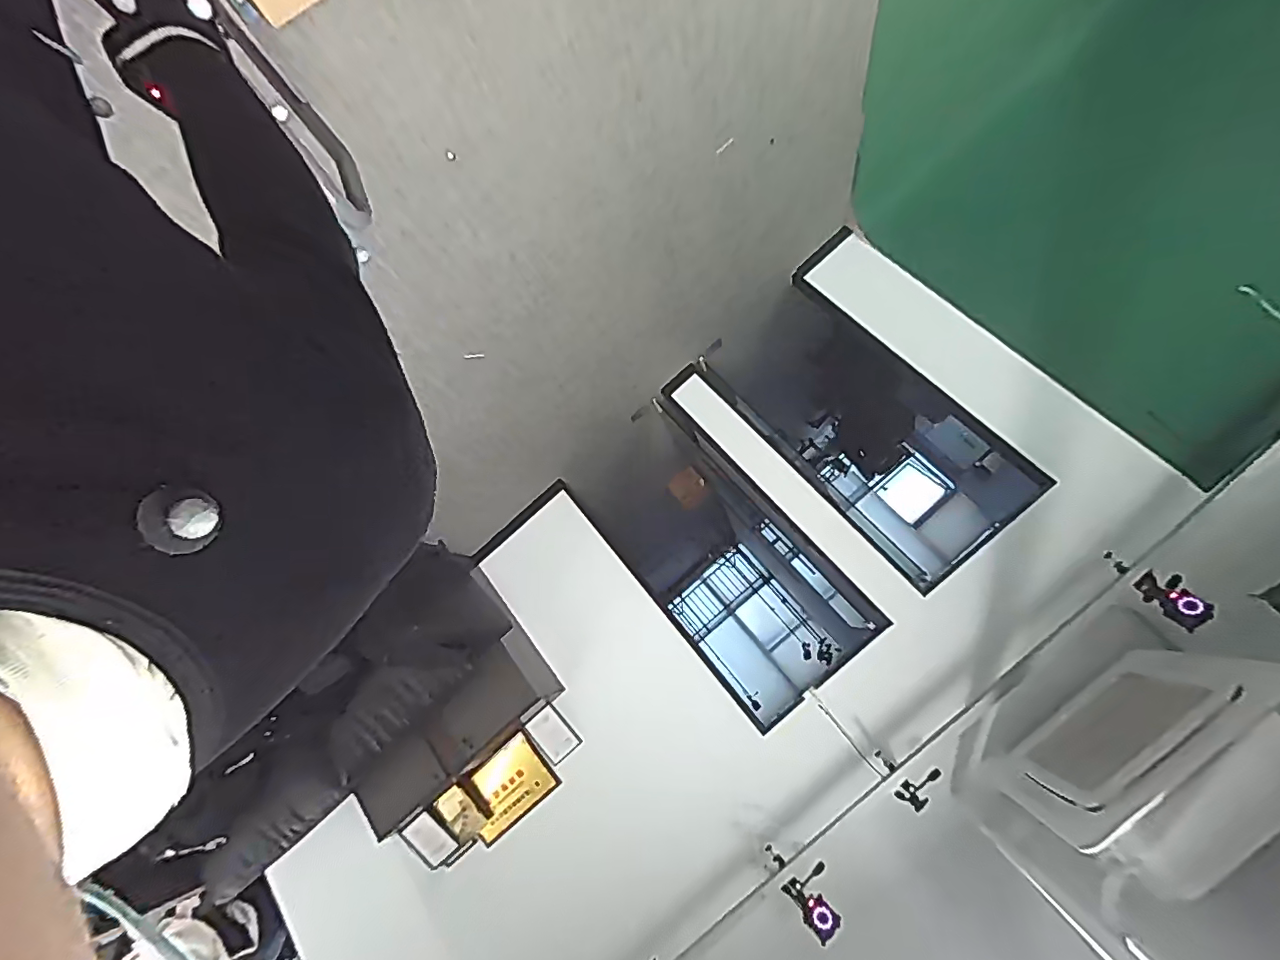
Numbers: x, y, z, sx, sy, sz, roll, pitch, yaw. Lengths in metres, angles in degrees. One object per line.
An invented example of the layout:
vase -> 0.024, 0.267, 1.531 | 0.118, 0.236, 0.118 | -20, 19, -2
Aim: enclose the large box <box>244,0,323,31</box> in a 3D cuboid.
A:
large box -> -0.519, -0.946, 0.732 | 0.408, 0.320, 0.320 | -41, 161, -5
